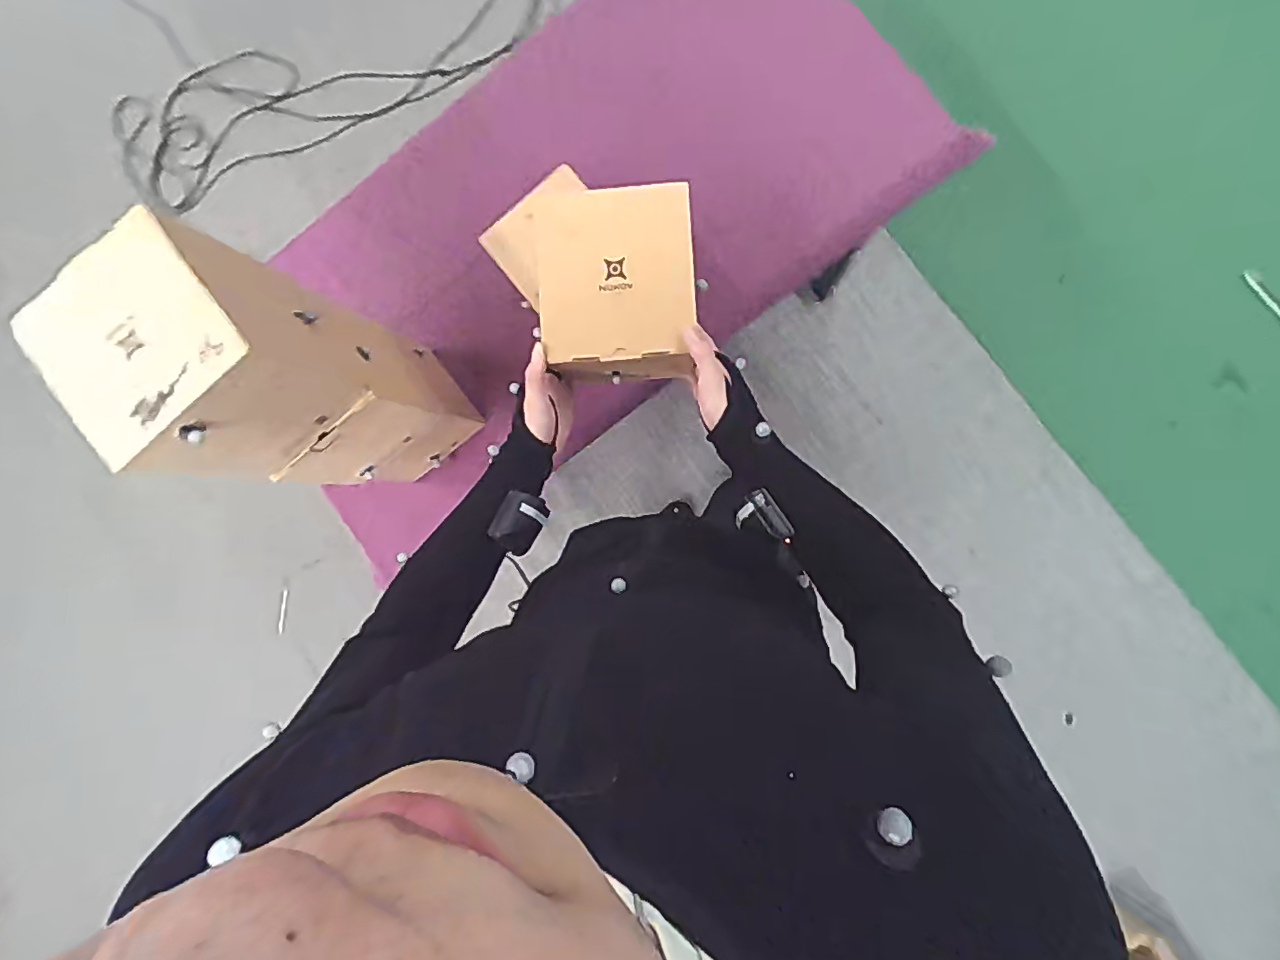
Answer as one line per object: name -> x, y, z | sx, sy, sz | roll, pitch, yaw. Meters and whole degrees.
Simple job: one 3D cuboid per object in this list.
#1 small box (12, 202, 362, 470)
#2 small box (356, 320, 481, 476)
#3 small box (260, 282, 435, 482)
small box -> -0.430, -0.122, 0.542 | 0.168, 0.176, 0.179 | -40, 84, 5
small box -> -0.393, -0.118, 0.867 | 0.168, 0.176, 0.179 | -39, 86, 5
small box -> -0.406, -0.114, 0.704 | 0.168, 0.176, 0.179 | -39, 84, 5
